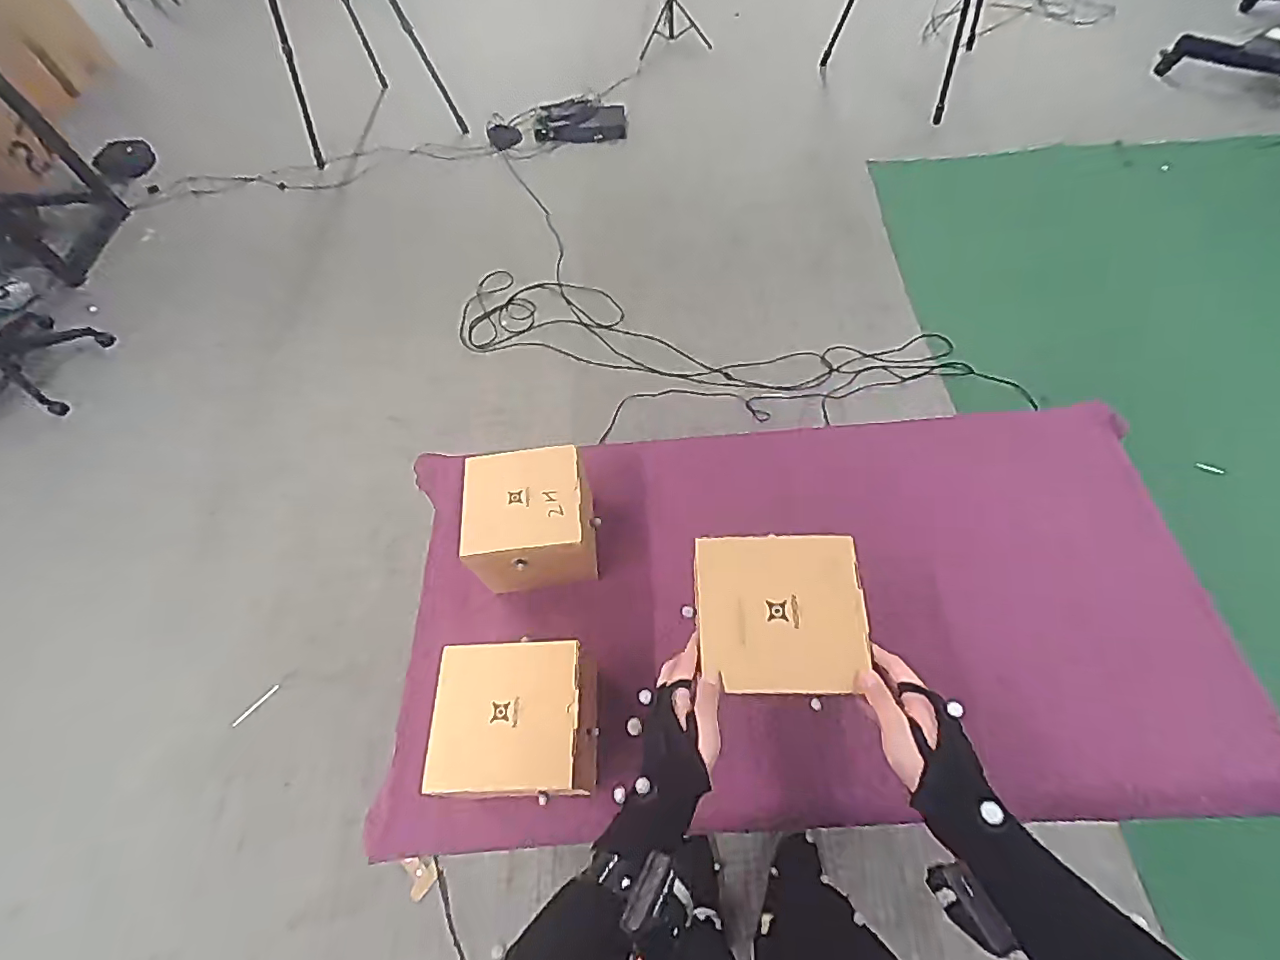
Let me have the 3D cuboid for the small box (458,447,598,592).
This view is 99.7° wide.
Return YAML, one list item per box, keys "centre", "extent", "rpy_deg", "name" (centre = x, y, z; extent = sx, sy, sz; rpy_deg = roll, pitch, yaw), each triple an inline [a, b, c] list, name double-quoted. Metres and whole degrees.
- centre: [-0.167, 0.069, 0.854]
  extent: [0.179, 0.176, 0.168]
  rpy_deg: [-6, 60, 1]
  name: "small box"

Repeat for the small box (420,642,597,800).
- centre: [-0.156, 0.319, 0.707]
  extent: [0.179, 0.176, 0.168]
  rpy_deg: [-3, 58, 2]
  name: "small box"

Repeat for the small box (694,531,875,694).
- centre: [0.156, 0.163, 0.645]
  extent: [0.179, 0.176, 0.168]
  rpy_deg: [-1, 67, 5]
  name: "small box"
